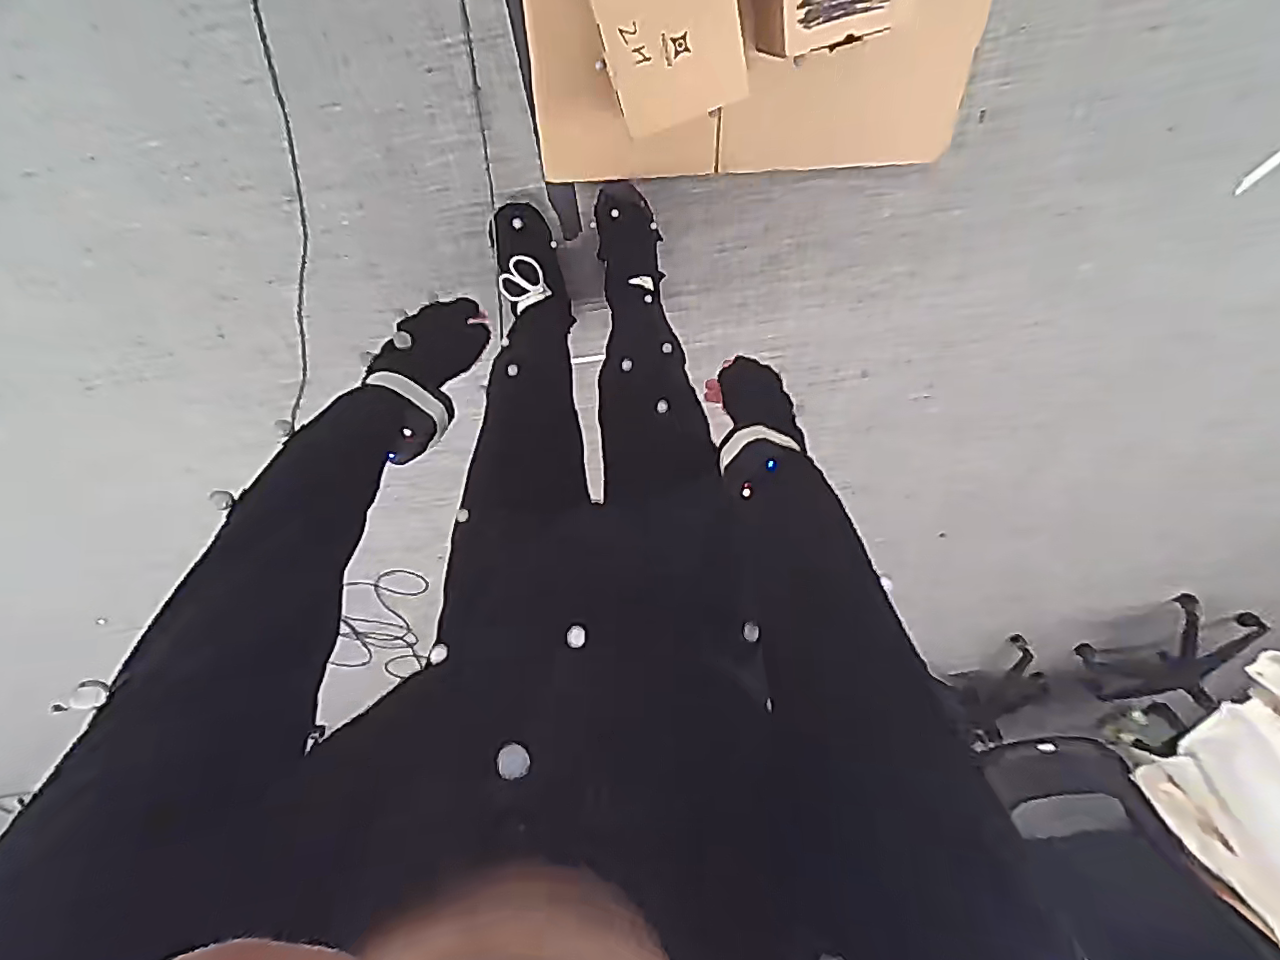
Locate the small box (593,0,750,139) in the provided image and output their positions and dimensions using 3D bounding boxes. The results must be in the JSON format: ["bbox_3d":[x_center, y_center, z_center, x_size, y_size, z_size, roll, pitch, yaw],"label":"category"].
[{"bbox_3d":[0.040,-0.611,0.757,0.179,0.176,0.168,-16,130,8],"label":"small box"}]
